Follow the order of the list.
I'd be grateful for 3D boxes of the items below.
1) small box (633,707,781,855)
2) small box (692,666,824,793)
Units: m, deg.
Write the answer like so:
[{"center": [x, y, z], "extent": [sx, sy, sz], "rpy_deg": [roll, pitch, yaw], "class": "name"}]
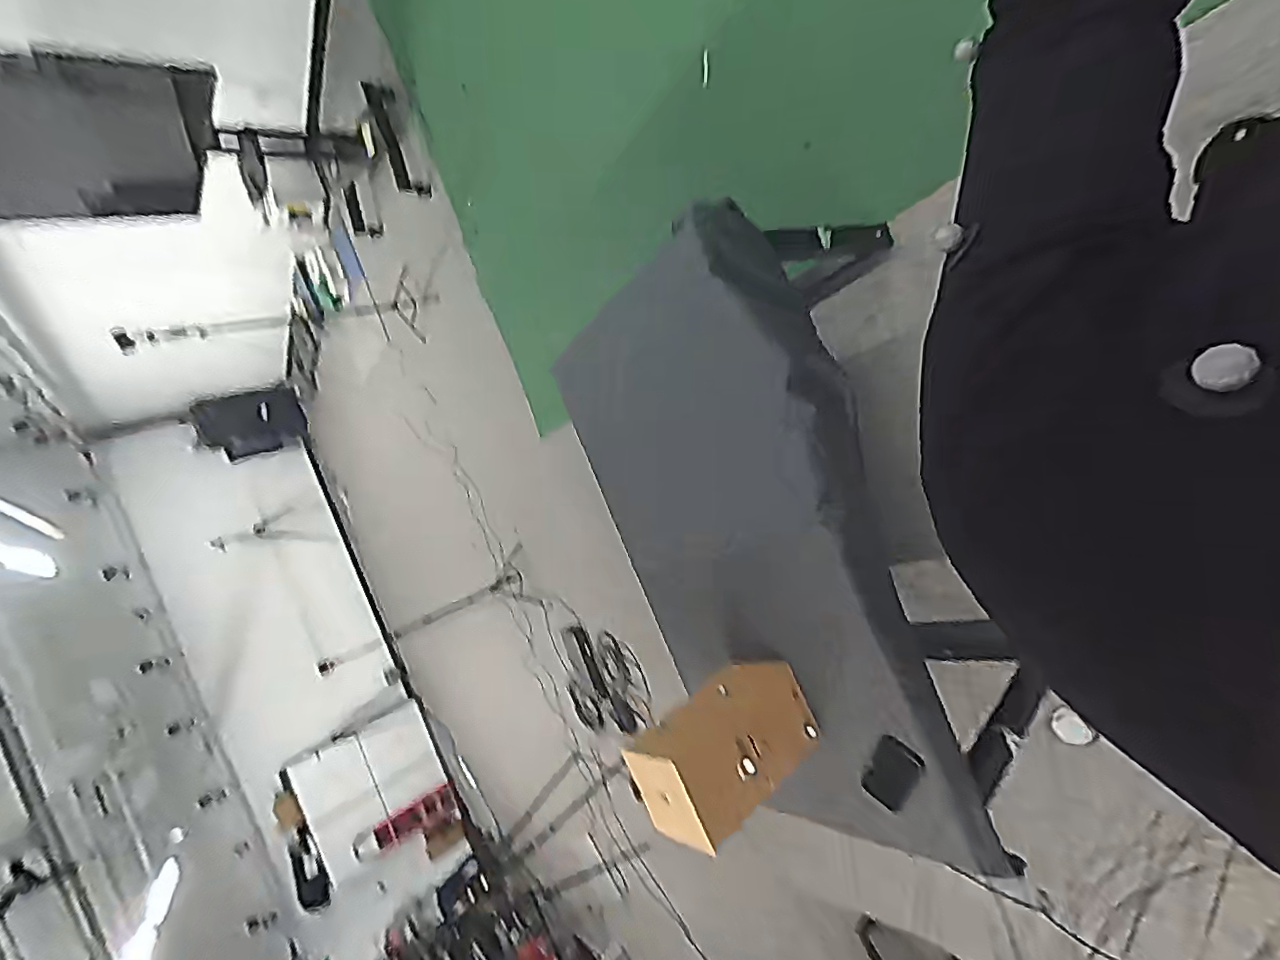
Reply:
[{"center": [0.123, 0.539, 0.998], "extent": [0.179, 0.176, 0.168], "rpy_deg": [-32, 83, 52], "class": "small box"}, {"center": [0.245, 0.492, 1.094], "extent": [0.179, 0.176, 0.168], "rpy_deg": [-31, 83, 54], "class": "small box"}]
